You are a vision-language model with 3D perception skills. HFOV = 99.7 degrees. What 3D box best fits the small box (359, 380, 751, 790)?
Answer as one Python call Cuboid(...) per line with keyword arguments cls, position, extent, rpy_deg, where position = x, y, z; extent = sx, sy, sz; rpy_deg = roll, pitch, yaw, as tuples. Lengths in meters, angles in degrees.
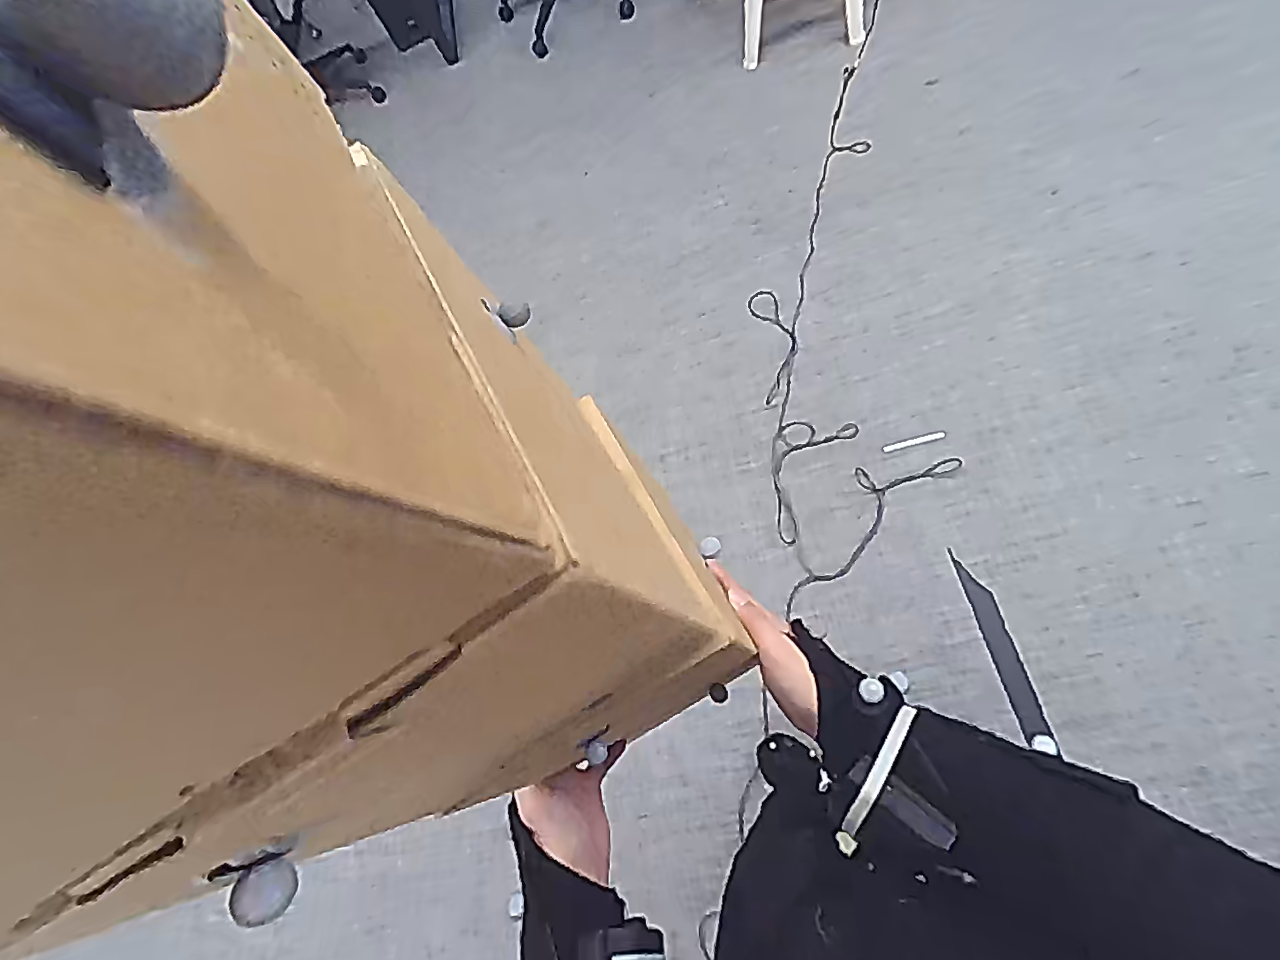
Cuboid(cls="small box", position=(-0.043, 0.074, 0.365), extent=(0.179, 0.176, 0.168), rpy_deg=(-32, 65, 3))
